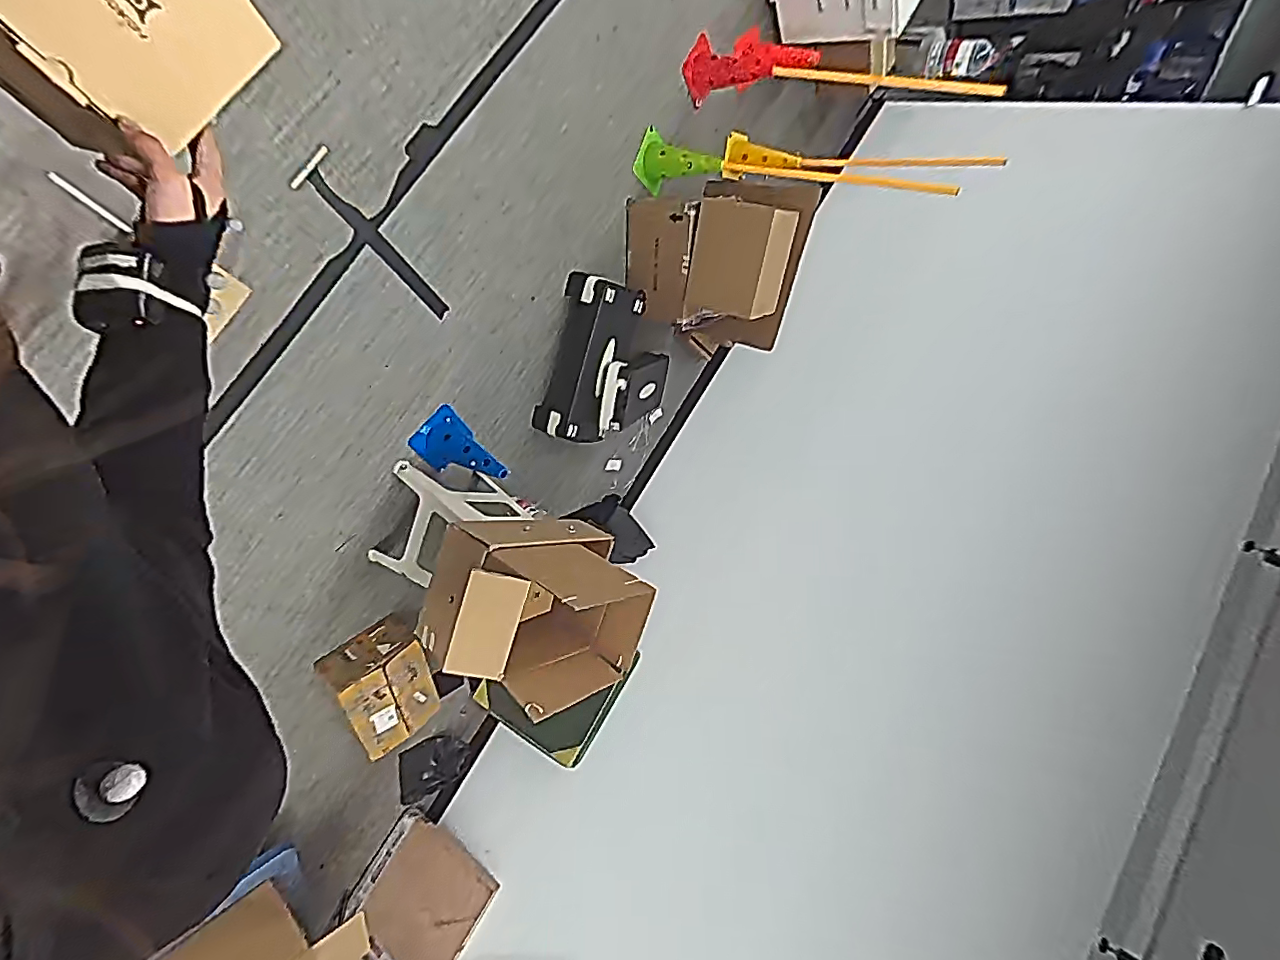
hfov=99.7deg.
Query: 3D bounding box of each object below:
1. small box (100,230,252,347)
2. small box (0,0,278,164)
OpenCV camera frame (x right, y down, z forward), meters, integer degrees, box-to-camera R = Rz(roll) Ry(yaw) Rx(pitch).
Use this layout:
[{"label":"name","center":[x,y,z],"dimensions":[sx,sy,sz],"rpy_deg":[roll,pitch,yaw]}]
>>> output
[{"label":"small box","center":[-1.019,-0.424,1.186],"dimensions":[0.168,0.176,0.179],"rpy_deg":[-59,149,-9]},{"label":"small box","center":[-0.481,-0.417,0.468],"dimensions":[0.179,0.176,0.168],"rpy_deg":[-62,157,-14]}]
